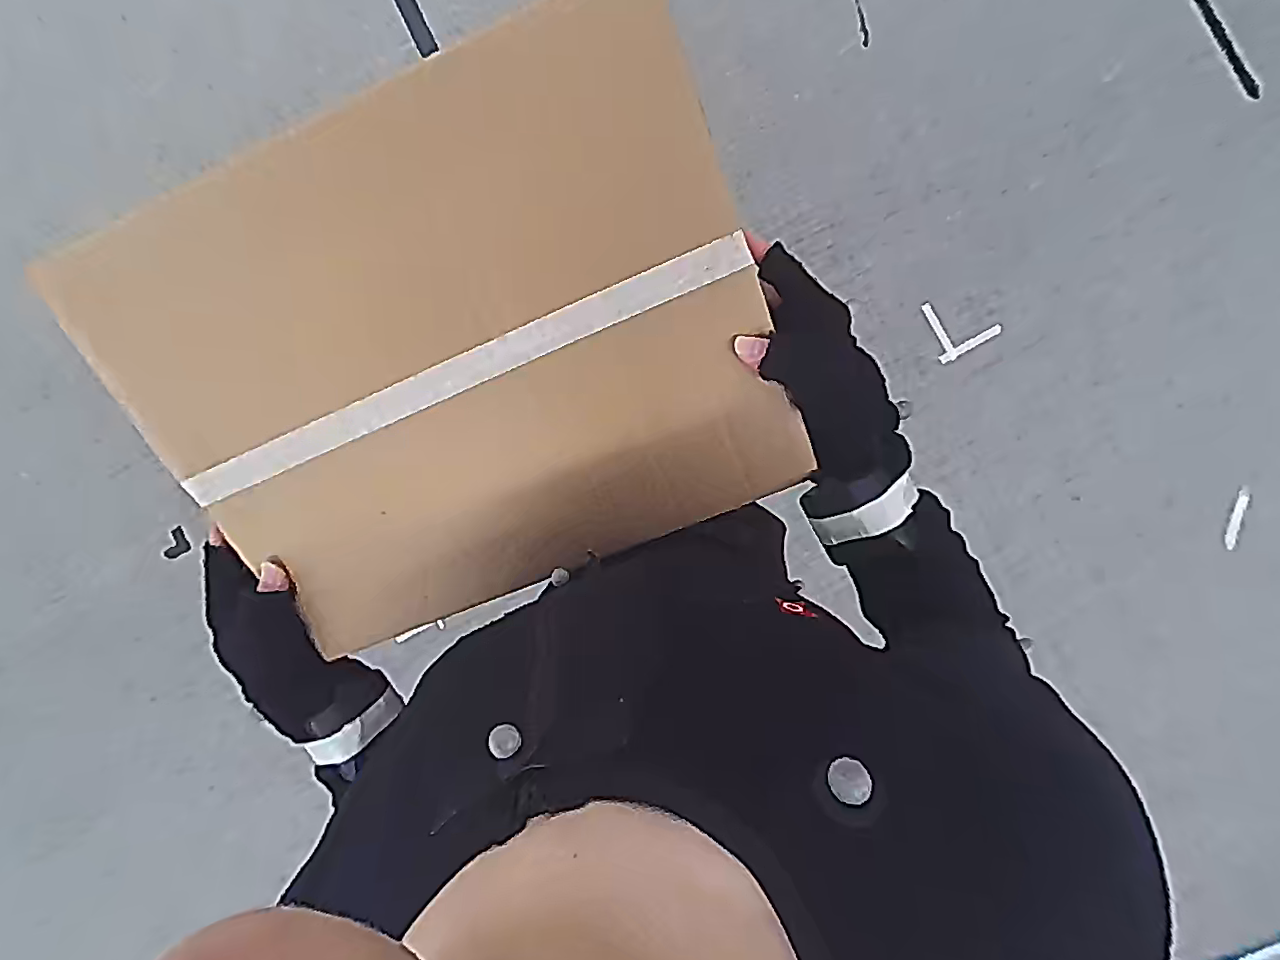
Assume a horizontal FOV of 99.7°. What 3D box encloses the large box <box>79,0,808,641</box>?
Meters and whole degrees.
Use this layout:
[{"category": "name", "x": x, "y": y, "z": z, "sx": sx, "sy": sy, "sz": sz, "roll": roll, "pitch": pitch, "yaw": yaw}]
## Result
[{"category": "large box", "x": -0.120, "y": -0.123, "z": 0.502, "sx": 0.408, "sy": 0.320, "sz": 0.320, "roll": -22, "pitch": 110, "yaw": 7}]
